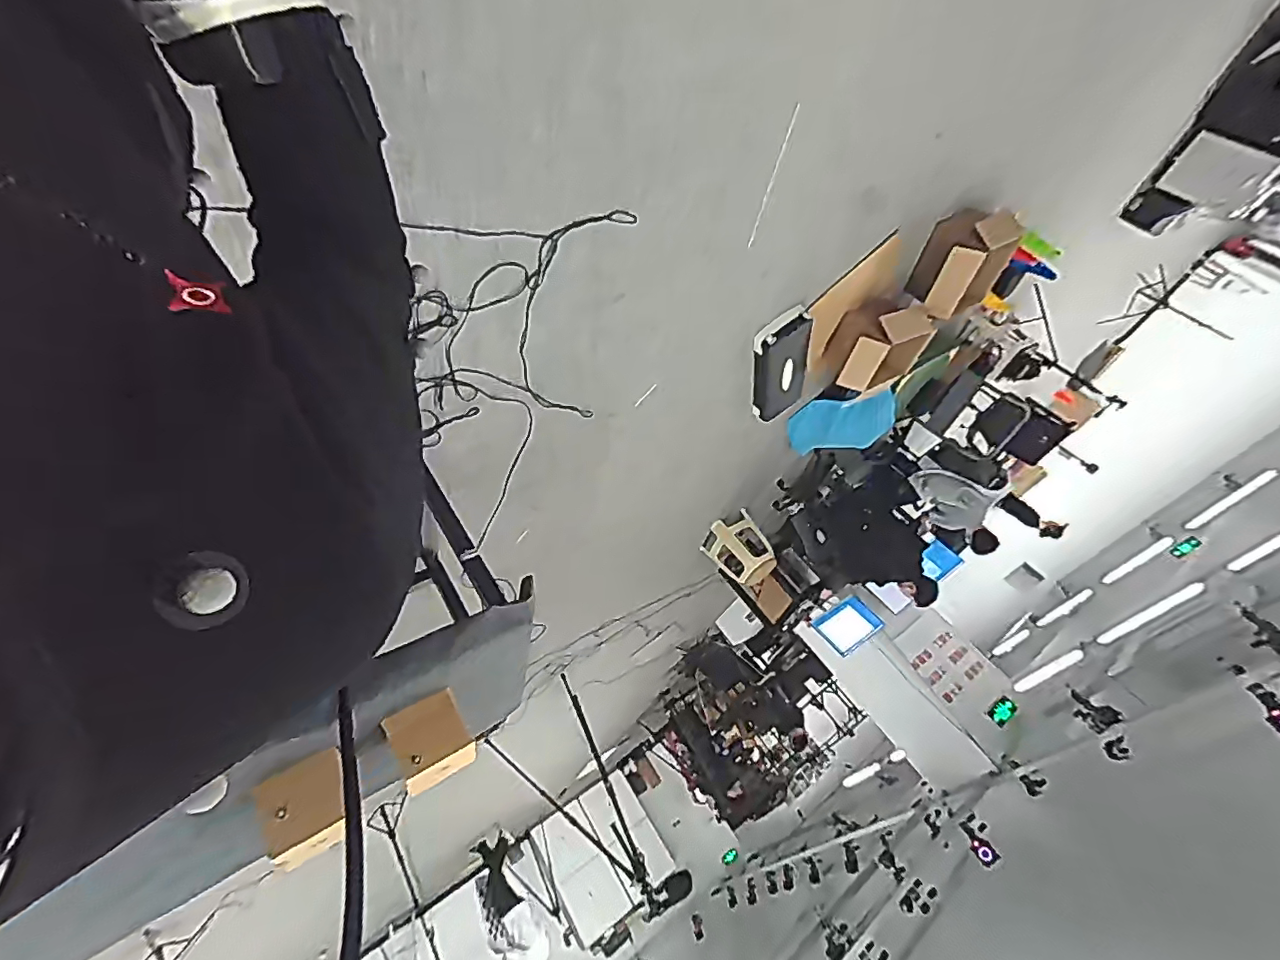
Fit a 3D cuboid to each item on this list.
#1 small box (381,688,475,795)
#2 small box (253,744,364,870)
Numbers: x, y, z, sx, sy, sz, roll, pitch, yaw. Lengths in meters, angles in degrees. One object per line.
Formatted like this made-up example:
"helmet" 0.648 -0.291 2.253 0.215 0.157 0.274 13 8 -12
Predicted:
"small box" -0.549 0.675 1.409 0.179 0.176 0.168 -21 147 -30
"small box" -0.772 0.757 1.259 0.179 0.176 0.168 -22 149 -32
